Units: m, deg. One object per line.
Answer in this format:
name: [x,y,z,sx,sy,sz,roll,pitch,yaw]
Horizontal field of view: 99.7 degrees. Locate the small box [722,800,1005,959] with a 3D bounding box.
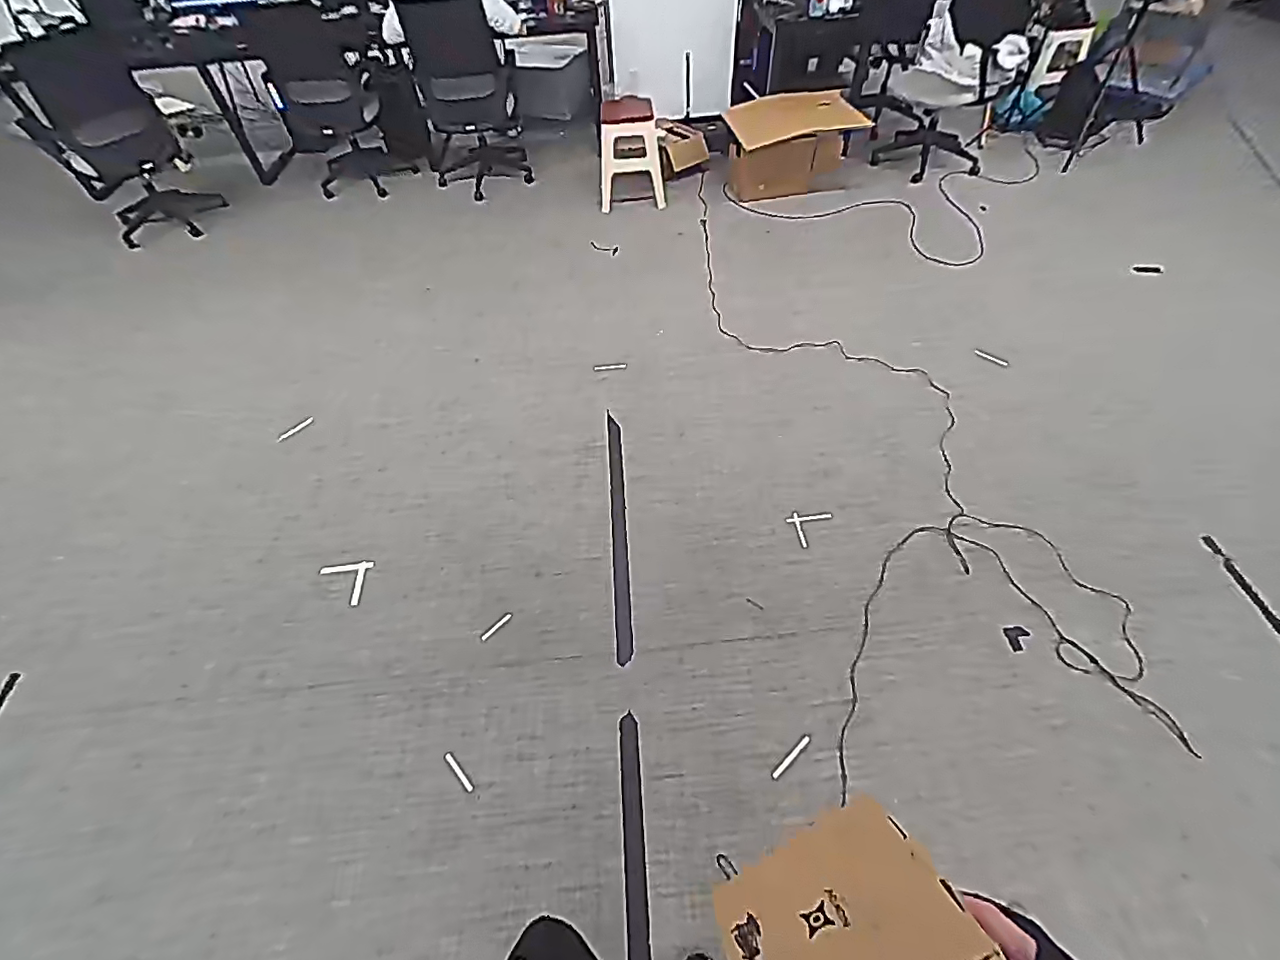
small box: [0.193,0.415,0.431,0.179,0.168,0.176,-29,91,-2]
